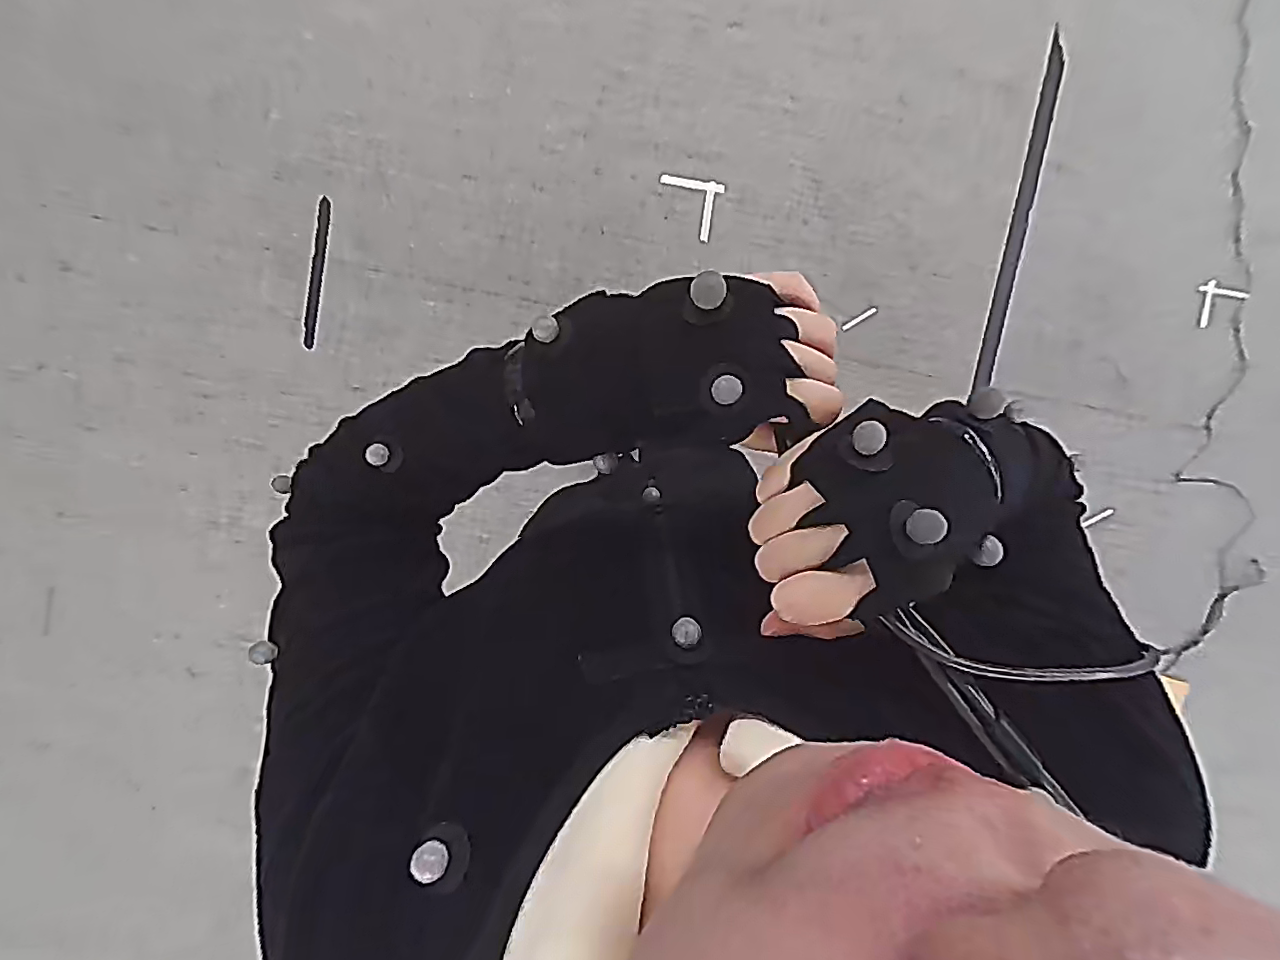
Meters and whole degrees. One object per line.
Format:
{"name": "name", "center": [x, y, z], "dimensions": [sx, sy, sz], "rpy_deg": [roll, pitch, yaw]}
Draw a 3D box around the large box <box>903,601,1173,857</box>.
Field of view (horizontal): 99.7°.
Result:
{"name": "large box", "center": [0.878, 0.540, 1.244], "dimensions": [0.320, 0.320, 0.408], "rpy_deg": [16, 93, -3]}
